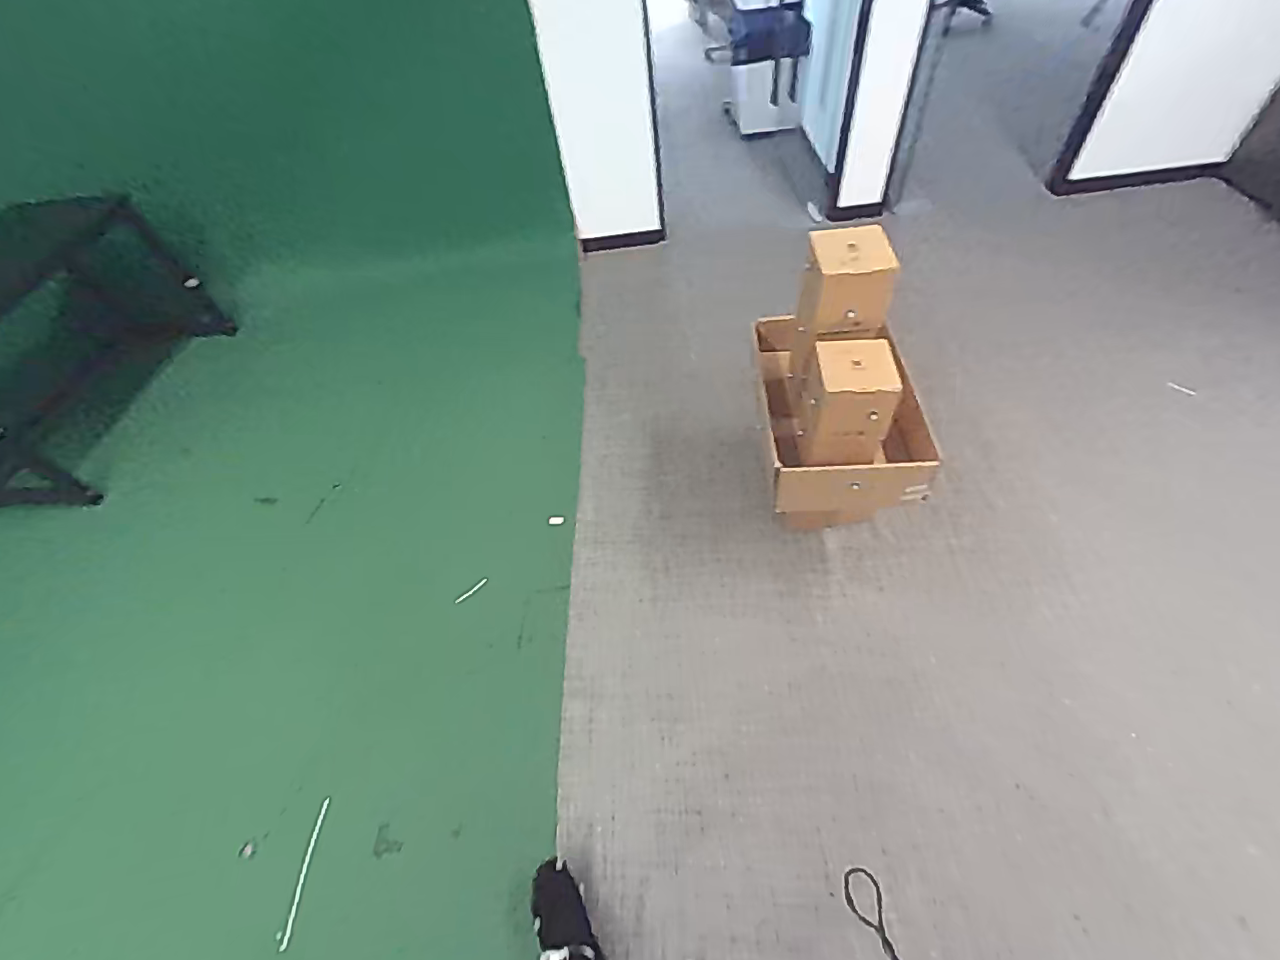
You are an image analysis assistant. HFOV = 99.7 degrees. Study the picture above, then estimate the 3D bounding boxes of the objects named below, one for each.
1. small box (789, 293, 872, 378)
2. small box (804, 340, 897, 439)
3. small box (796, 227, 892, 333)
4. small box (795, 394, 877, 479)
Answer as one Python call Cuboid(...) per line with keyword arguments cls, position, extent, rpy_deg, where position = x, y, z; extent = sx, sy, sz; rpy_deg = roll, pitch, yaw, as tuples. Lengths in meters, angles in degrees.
Cuboid(cls="small box", position=(0.500, -0.395, 1.445), extent=(0.168, 0.176, 0.179), rpy_deg=(-3, 55, 6))
Cuboid(cls="small box", position=(0.495, -0.211, 1.297), extent=(0.168, 0.176, 0.179), rpy_deg=(-1, 51, 7))
Cuboid(cls="small box", position=(0.481, -0.480, 1.304), extent=(0.168, 0.176, 0.179), rpy_deg=(-5, 55, 5))
Cuboid(cls="small box", position=(0.509, -0.113, 1.427), extent=(0.168, 0.176, 0.179), rpy_deg=(-2, 51, 6))
